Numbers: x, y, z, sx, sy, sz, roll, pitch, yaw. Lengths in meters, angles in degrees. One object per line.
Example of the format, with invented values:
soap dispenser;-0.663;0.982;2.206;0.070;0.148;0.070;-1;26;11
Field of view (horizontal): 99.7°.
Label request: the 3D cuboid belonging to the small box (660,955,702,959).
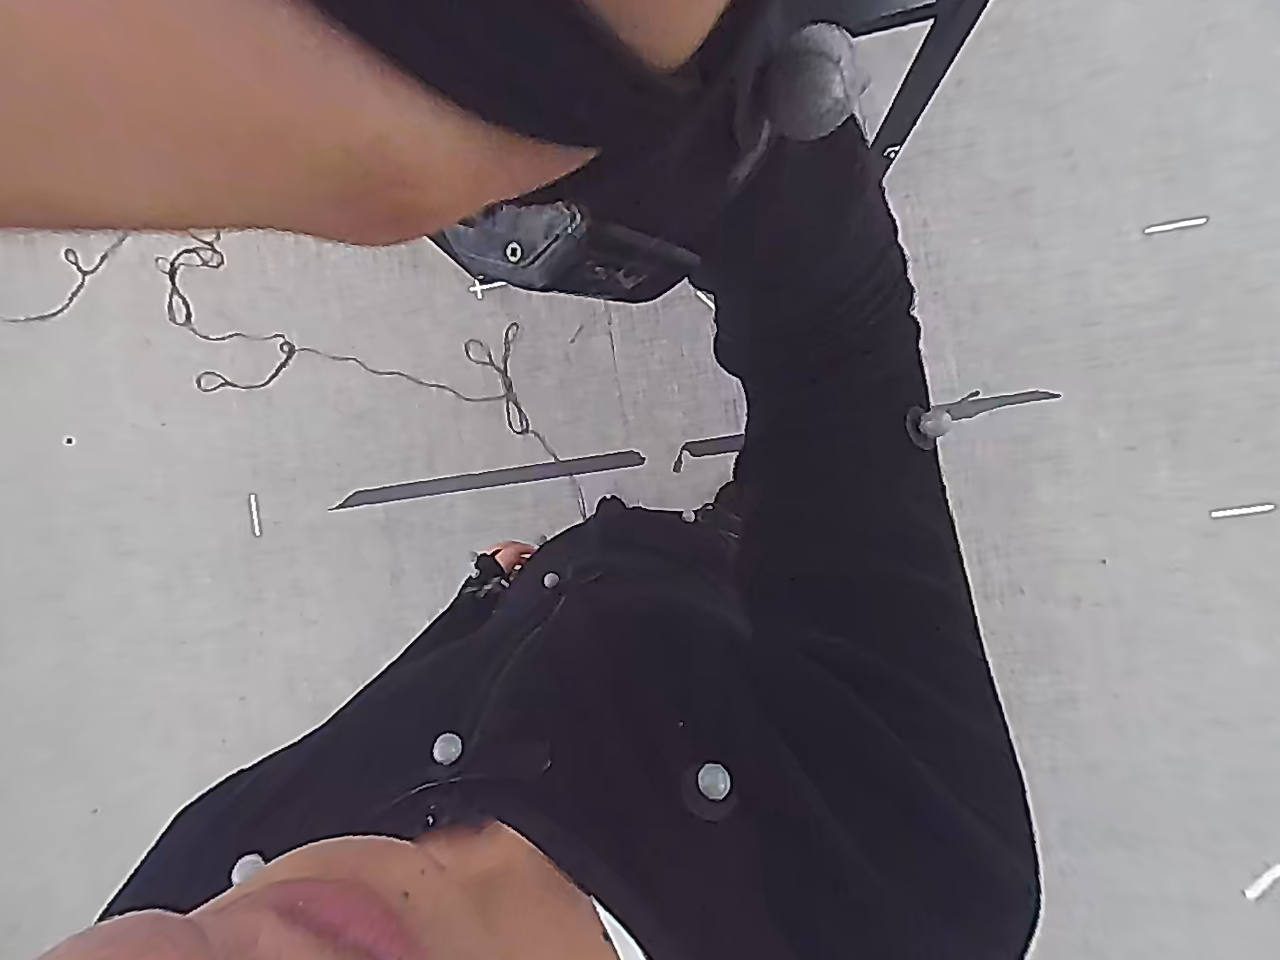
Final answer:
small box;0.061;1.025;0.980;0.168;0.176;0.179;-12;90;4
